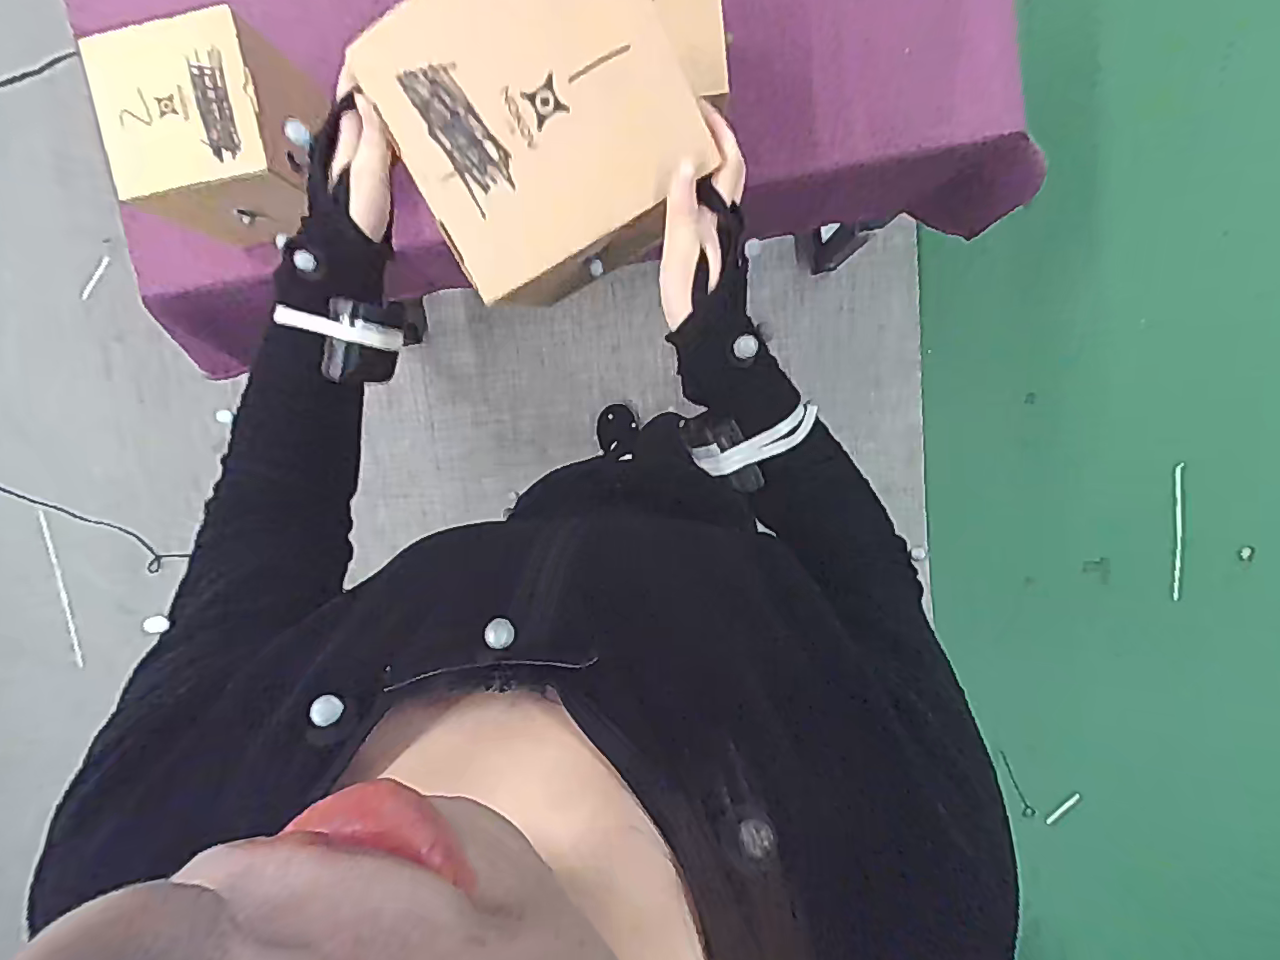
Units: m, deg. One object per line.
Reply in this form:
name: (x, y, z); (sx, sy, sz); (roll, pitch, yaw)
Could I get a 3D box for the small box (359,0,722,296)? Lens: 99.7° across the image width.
small box: (-0.052, -0.249, 0.402); (0.179, 0.176, 0.168); (-25, 104, 12)

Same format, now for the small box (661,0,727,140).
small box: (0.005, -0.470, 0.624); (0.168, 0.176, 0.179); (-6, 96, 2)
